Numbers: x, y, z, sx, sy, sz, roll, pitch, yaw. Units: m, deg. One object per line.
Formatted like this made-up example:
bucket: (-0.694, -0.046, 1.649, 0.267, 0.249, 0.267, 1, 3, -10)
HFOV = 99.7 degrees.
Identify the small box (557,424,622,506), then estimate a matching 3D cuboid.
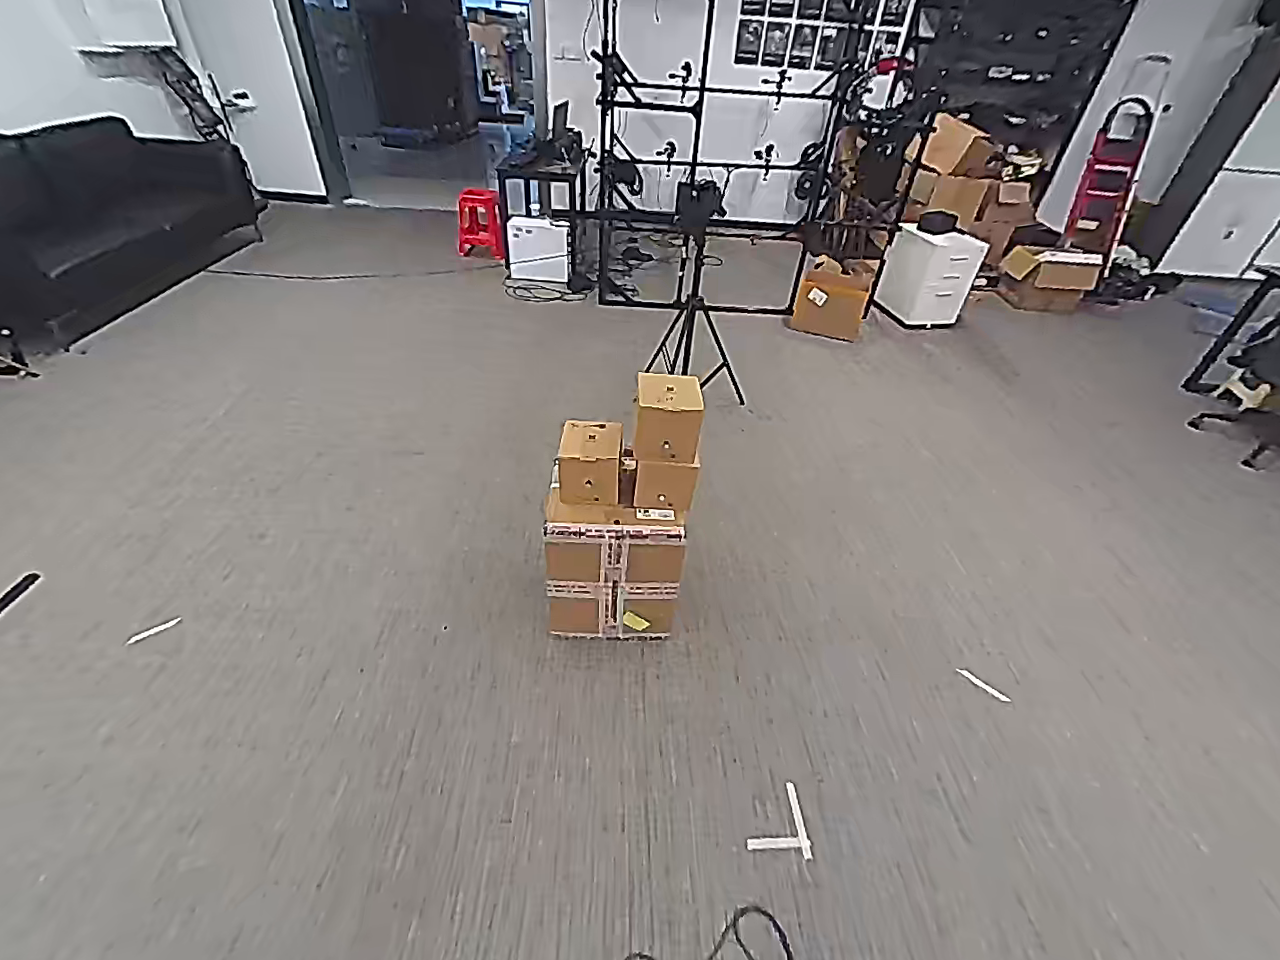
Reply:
small box: (-0.138, -0.041, 1.547, 0.168, 0.176, 0.179, 3, 41, 0)

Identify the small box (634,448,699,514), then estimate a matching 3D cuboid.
small box: (0.071, -0.026, 1.553, 0.168, 0.176, 0.179, 5, 41, -3)

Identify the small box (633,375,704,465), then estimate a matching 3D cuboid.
small box: (0.069, -0.161, 1.455, 0.168, 0.176, 0.179, 3, 40, -4)
